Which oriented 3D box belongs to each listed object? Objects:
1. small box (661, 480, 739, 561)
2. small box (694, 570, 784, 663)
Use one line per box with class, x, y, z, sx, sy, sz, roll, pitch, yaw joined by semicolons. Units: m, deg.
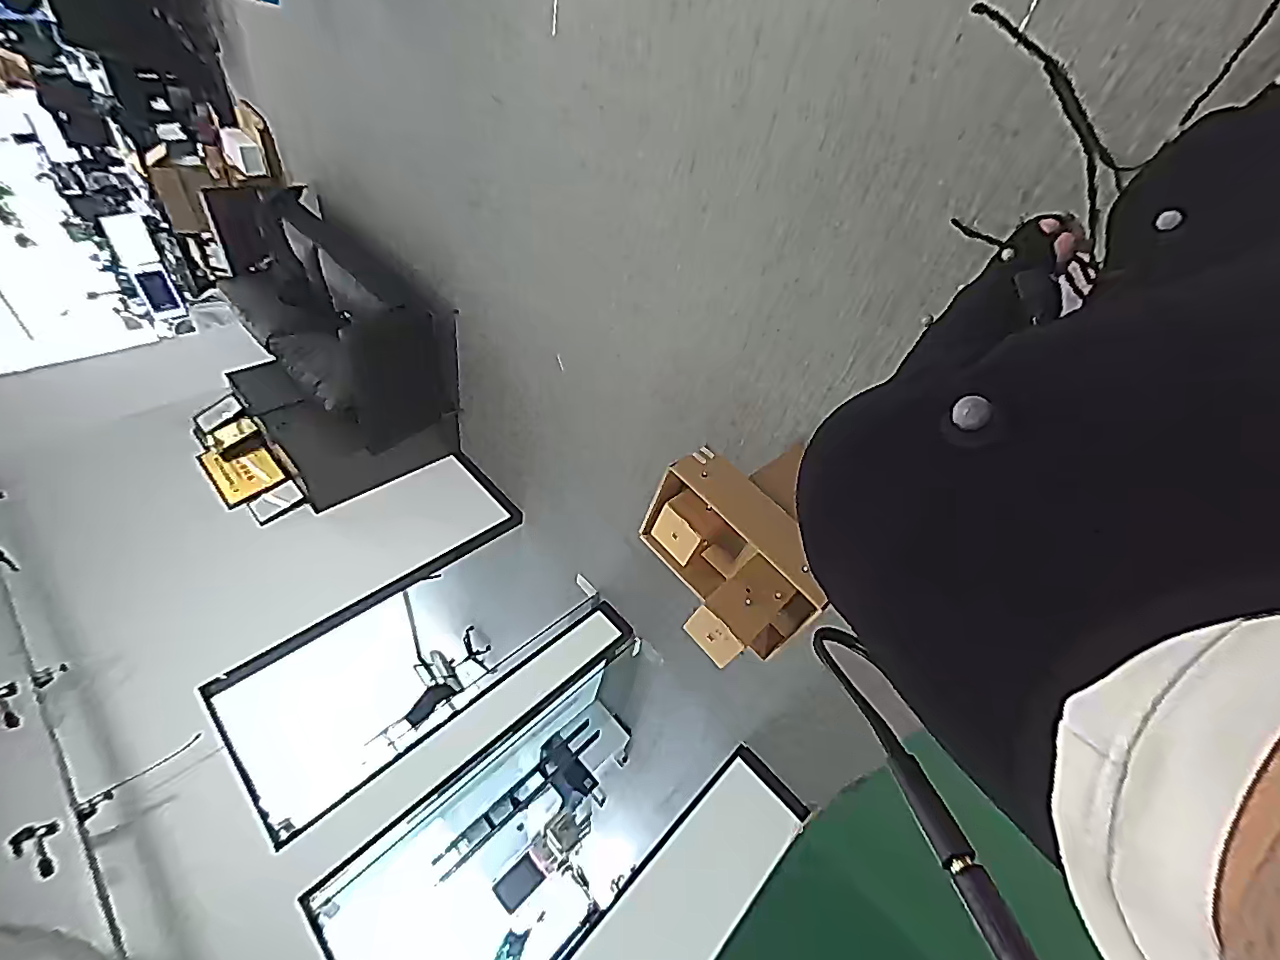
small box;0.203;0.133;1.807;0.168;0.176;0.179;45;142;20
small box;0.294;0.402;1.602;0.168;0.176;0.179;46;143;18
